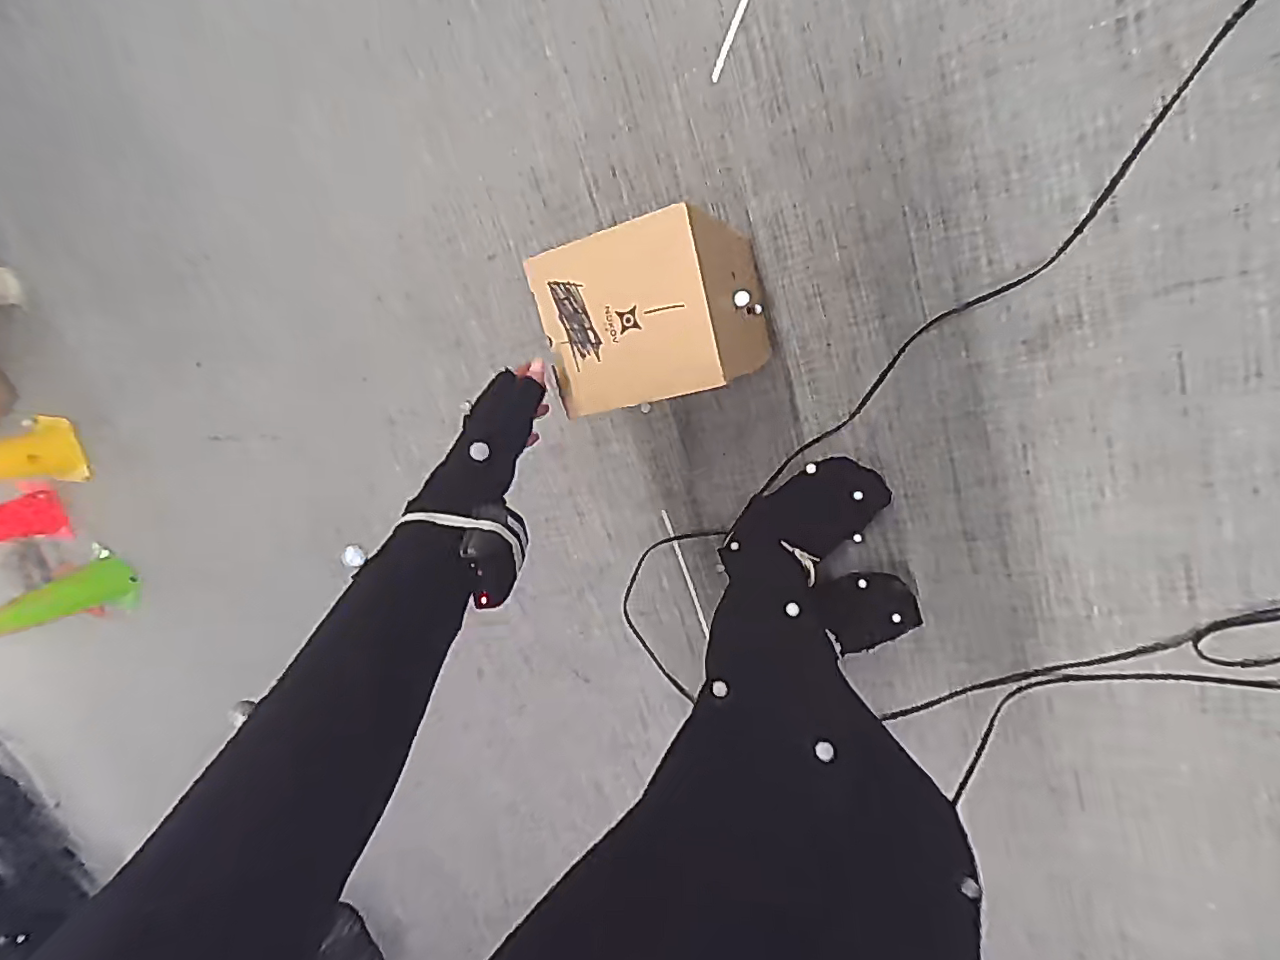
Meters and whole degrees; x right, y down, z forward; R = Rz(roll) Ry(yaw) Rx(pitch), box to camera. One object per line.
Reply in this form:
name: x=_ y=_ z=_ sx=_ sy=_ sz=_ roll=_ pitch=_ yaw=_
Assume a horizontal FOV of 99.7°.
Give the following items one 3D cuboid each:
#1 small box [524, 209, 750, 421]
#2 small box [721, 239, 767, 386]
small box: x=0.009 y=-0.172 z=0.589 sx=0.179 sy=0.176 sz=0.168 roll=-8 pitch=105 yaw=23
small box: x=0.068 y=-0.219 z=0.736 sx=0.168 sy=0.176 sz=0.179 roll=-9 pitch=105 yaw=24
